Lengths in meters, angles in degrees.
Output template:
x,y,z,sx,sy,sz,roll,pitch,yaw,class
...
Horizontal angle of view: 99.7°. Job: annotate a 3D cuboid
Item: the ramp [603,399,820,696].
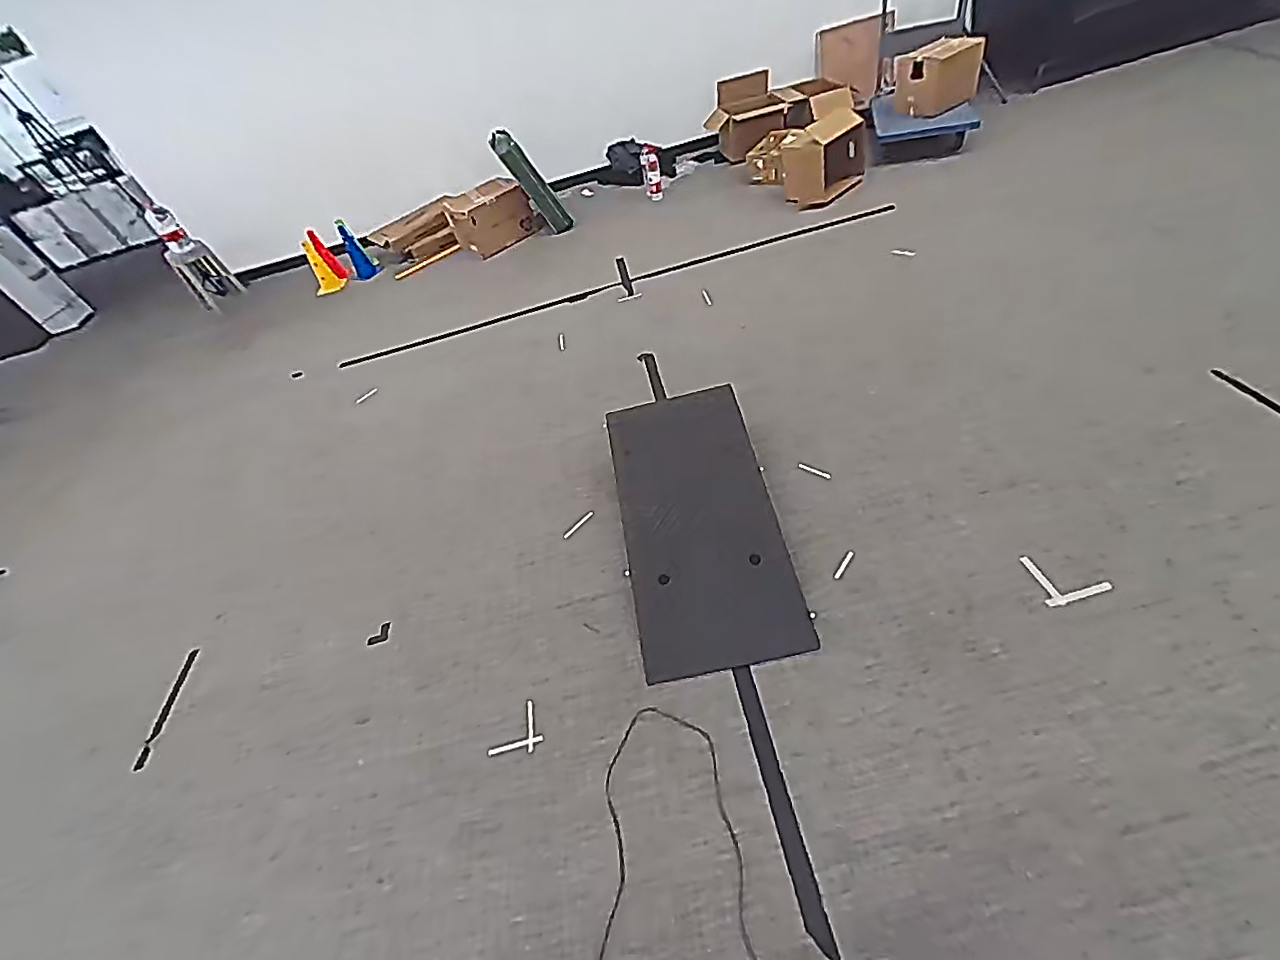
x,y,z,sx,sy,sz,roll,pitch,yaw,class
0.183,0.151,1.784,0.509,0.206,0.991,-15,45,1,ramp
